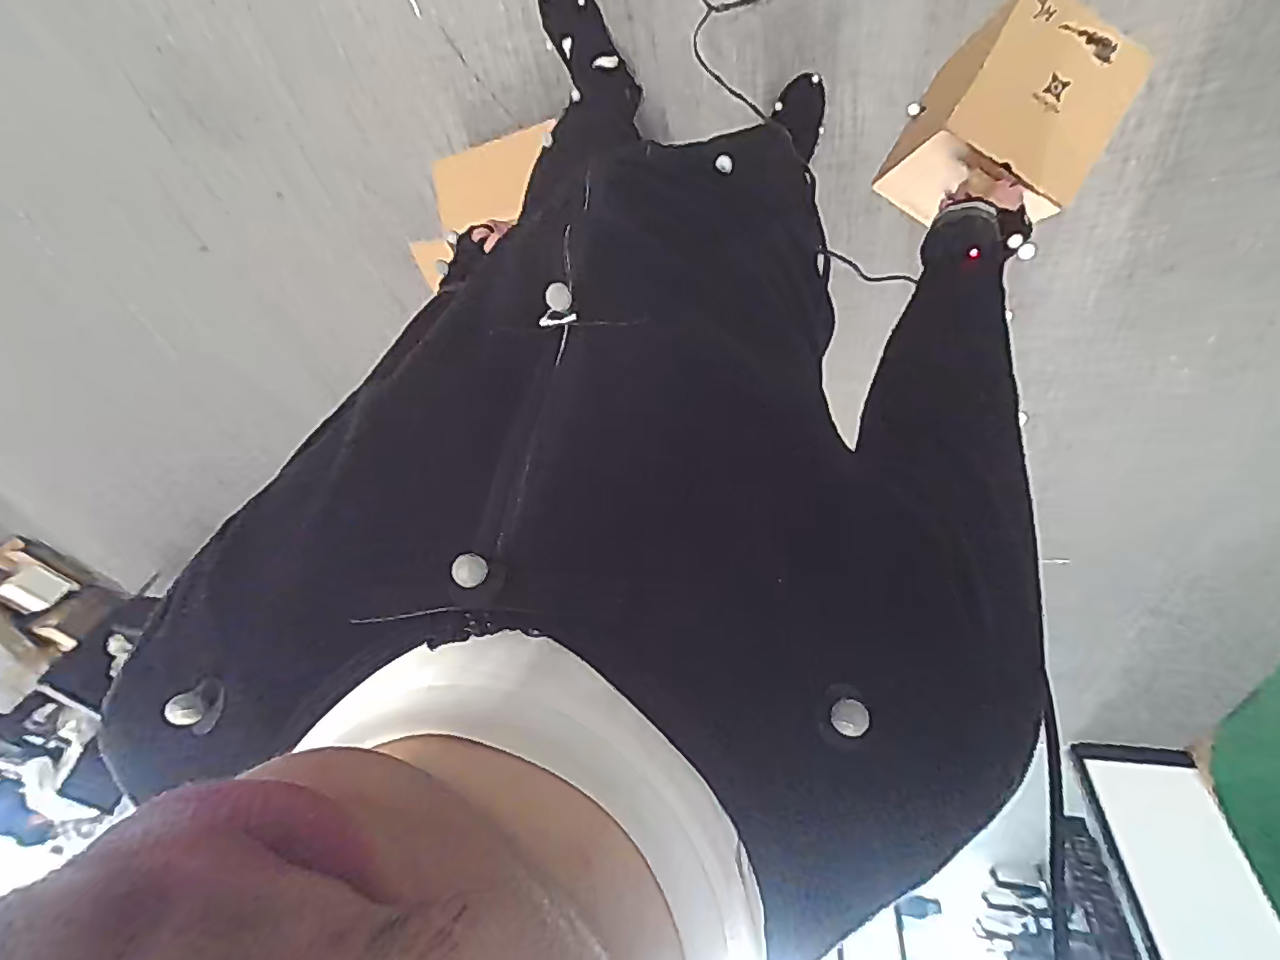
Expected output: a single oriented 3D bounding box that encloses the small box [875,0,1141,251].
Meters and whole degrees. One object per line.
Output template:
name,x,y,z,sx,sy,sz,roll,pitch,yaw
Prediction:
small box,0.419,-0.410,0.654,0.168,0.176,0.179,30,96,-7
